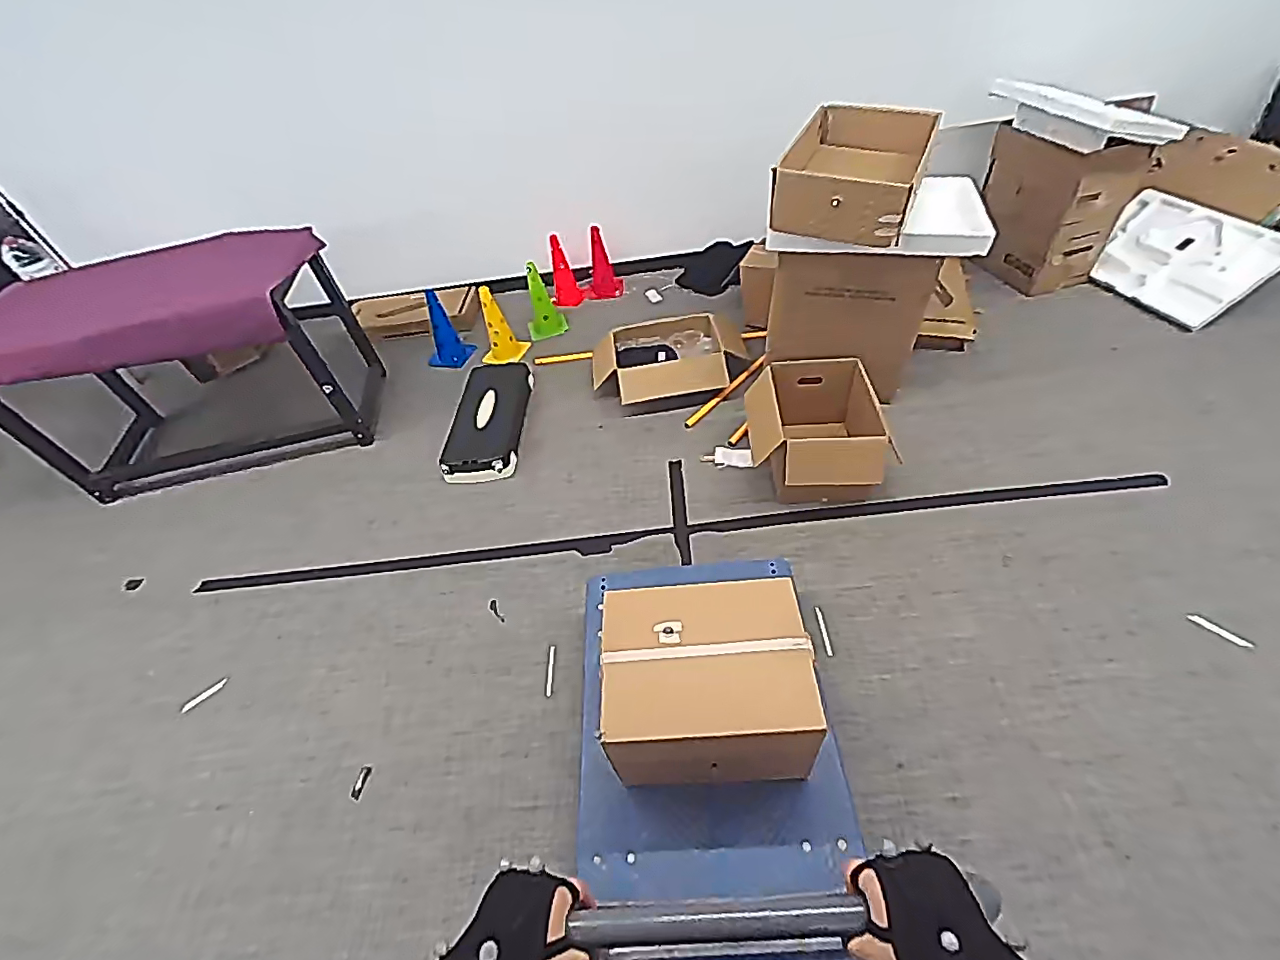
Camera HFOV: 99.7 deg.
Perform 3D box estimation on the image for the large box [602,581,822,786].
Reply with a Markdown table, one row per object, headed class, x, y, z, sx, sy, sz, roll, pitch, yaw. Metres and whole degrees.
| class | x | y | z | sx | sy | sz | roll | pitch | yaw |
| --- | --- | --- | --- | --- | --- | --- | --- | --- | --- |
| large box | 0.142 | 0.451 | 1.180 | 0.408 | 0.320 | 0.320 | -6 | 46 | 4 |
